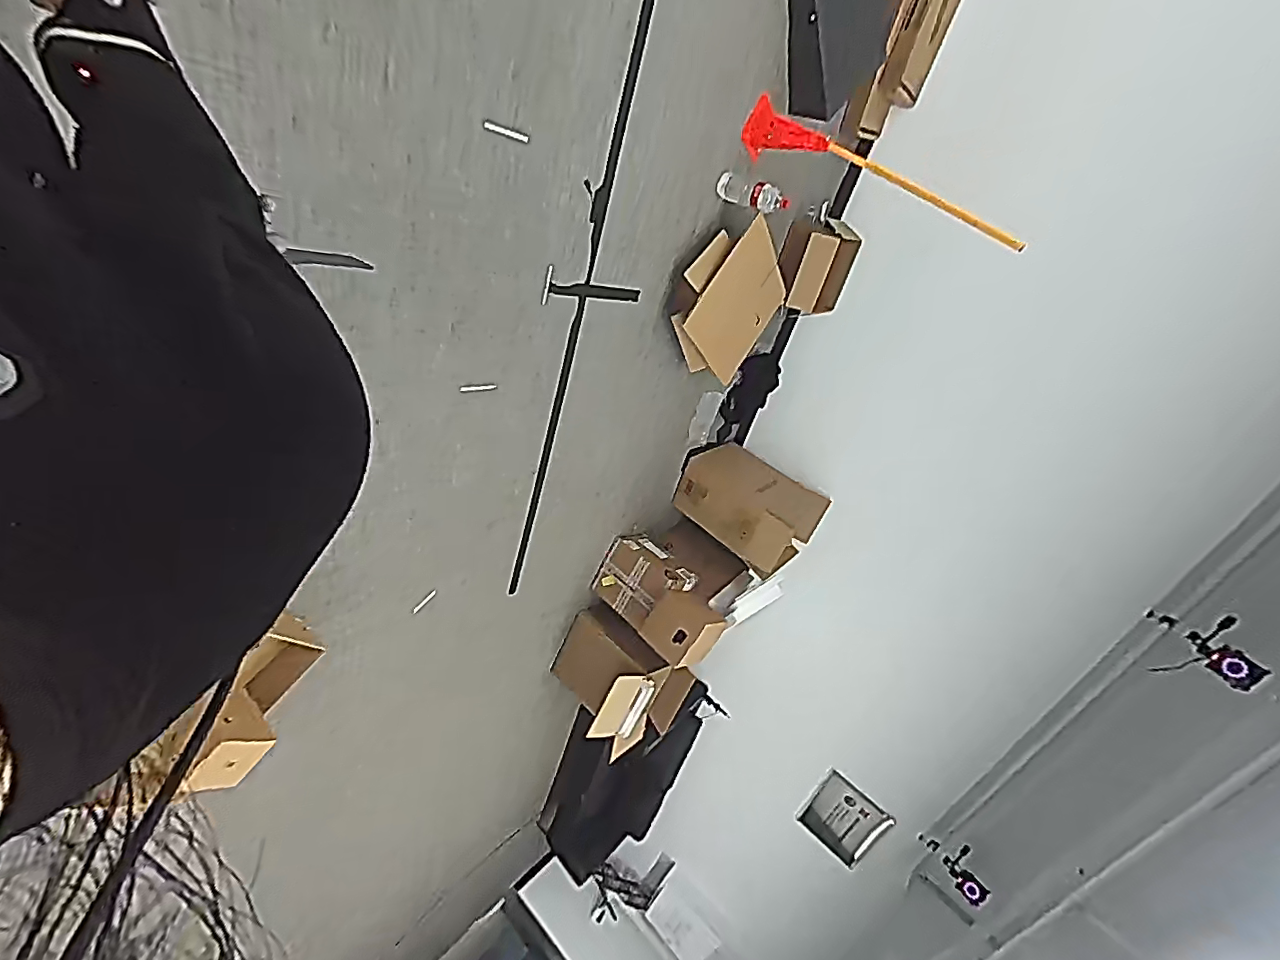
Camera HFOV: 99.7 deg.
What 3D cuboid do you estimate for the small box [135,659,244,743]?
[{"bbox_3d":[-1.334,0.659,1.611,0.168,0.176,0.179,-48,152,-13],"label":"small box"}]

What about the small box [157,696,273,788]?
[{"bbox_3d":[-1.212,0.739,1.540,0.168,0.176,0.179,-49,153,-8],"label":"small box"}]
